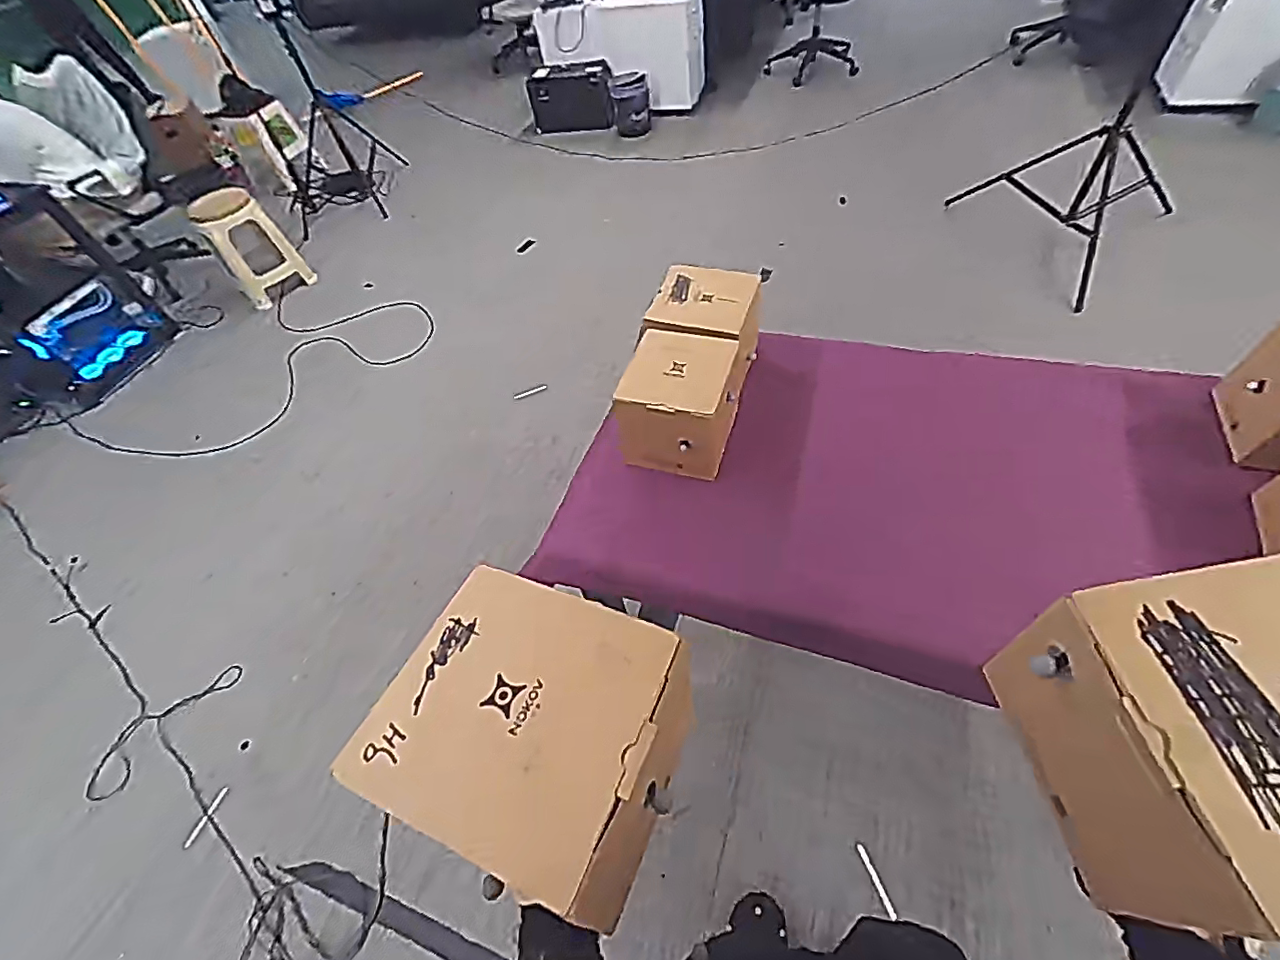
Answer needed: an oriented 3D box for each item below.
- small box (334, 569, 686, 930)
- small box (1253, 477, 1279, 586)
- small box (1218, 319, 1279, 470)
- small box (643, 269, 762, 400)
[{"bbox_3d":[-0.072,0.201,0.409,0.179,0.176,0.168,15,52,19],"label":"small box"},{"bbox_3d":[0.922,0.062,0.659,0.168,0.176,0.179,15,56,20],"label":"small box"},{"bbox_3d":[0.994,-0.115,0.773,0.179,0.176,0.168,13,57,17],"label":"small box"},{"bbox_3d":[0.122,-0.274,1.029,0.179,0.176,0.168,14,59,17],"label":"small box"}]
